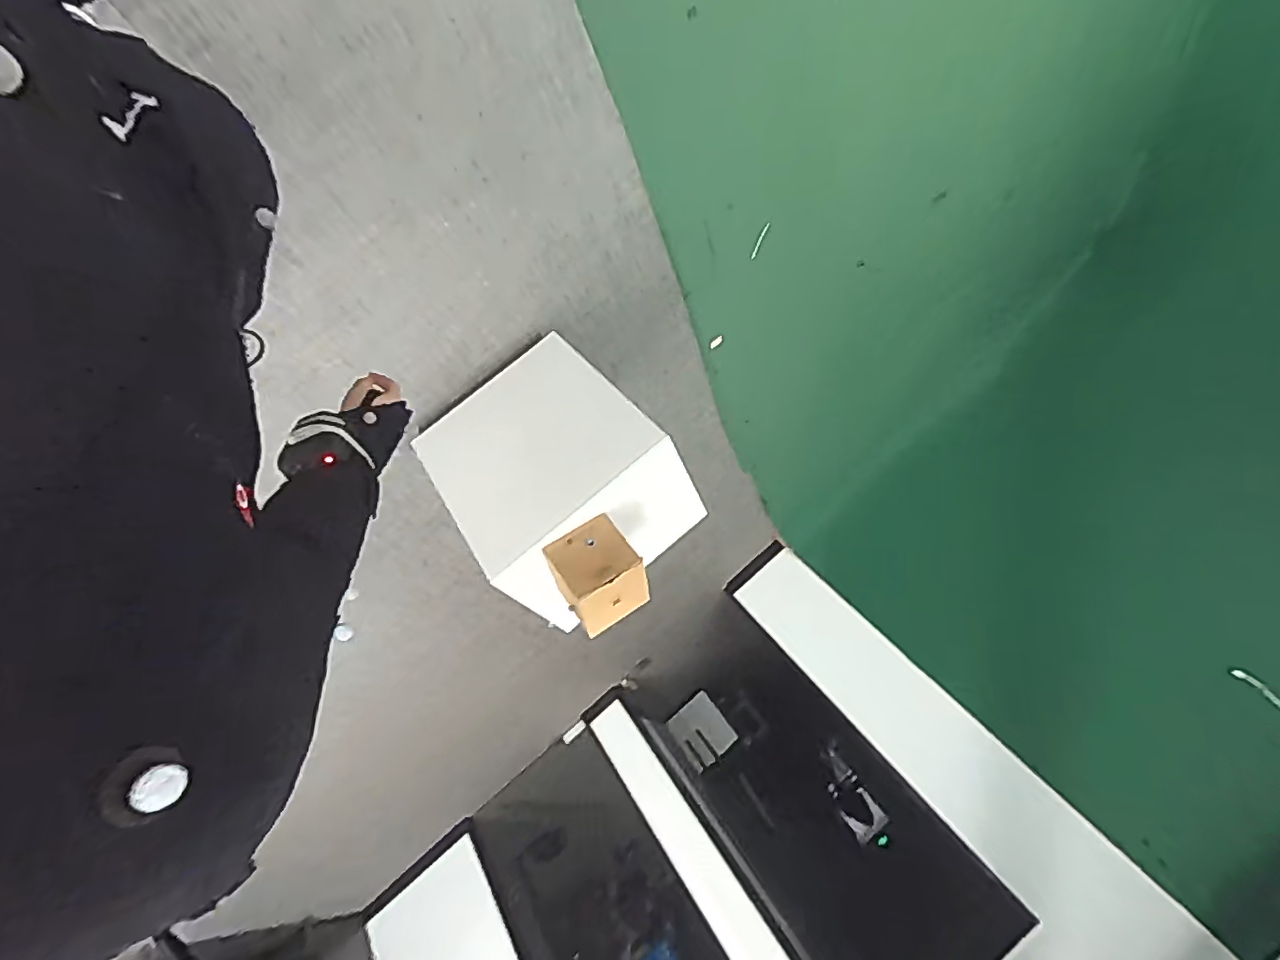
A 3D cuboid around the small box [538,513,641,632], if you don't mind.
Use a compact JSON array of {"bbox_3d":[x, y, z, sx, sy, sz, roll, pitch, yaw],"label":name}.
[{"bbox_3d":[-0.114,0.208,1.244,0.168,0.176,0.179,-30,143,-18],"label":"small box"}]
